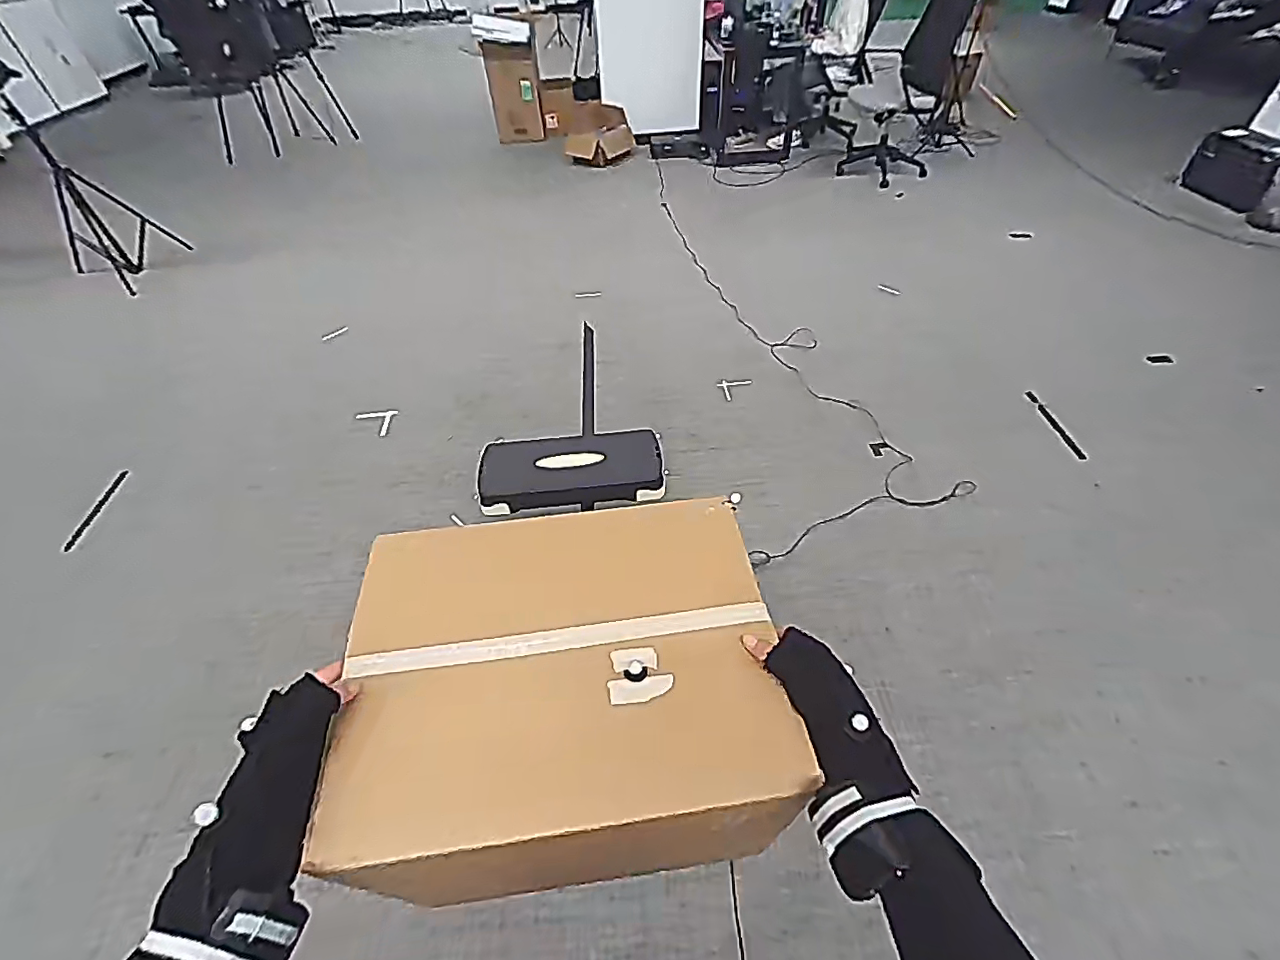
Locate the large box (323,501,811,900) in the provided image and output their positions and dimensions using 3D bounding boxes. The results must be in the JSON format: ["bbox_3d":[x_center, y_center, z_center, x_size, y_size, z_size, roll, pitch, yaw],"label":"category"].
[{"bbox_3d":[-0.071,0.258,0.641,0.408,0.320,0.320,-6,48,-5],"label":"large box"}]
